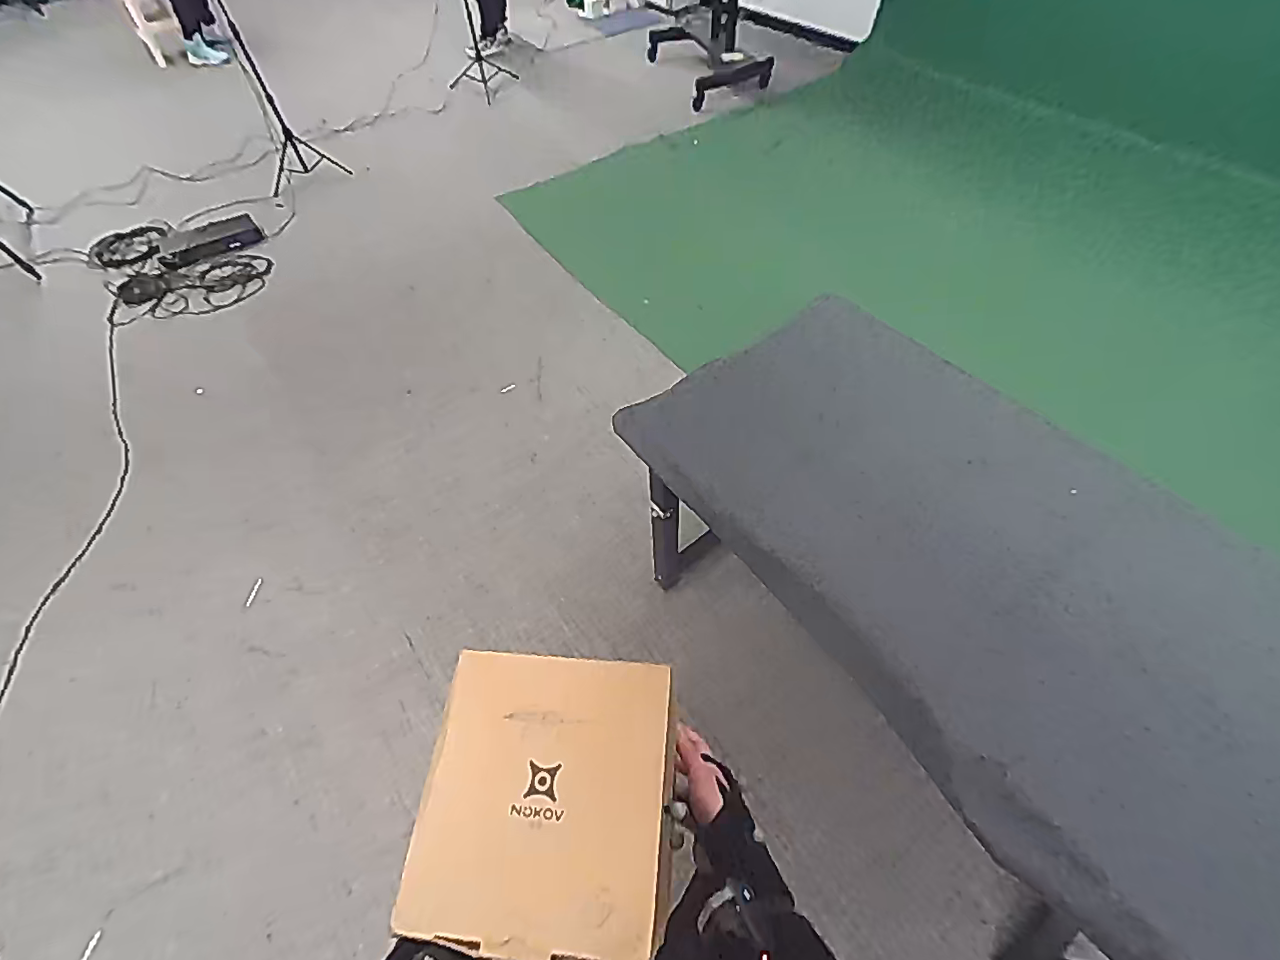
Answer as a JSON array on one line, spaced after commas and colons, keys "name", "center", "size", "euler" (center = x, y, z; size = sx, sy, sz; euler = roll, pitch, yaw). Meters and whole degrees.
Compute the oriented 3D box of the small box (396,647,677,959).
[{"name": "small box", "center": [-0.058, 0.247, 0.434], "size": [0.168, 0.176, 0.179], "euler": [2, 58, 6]}]
